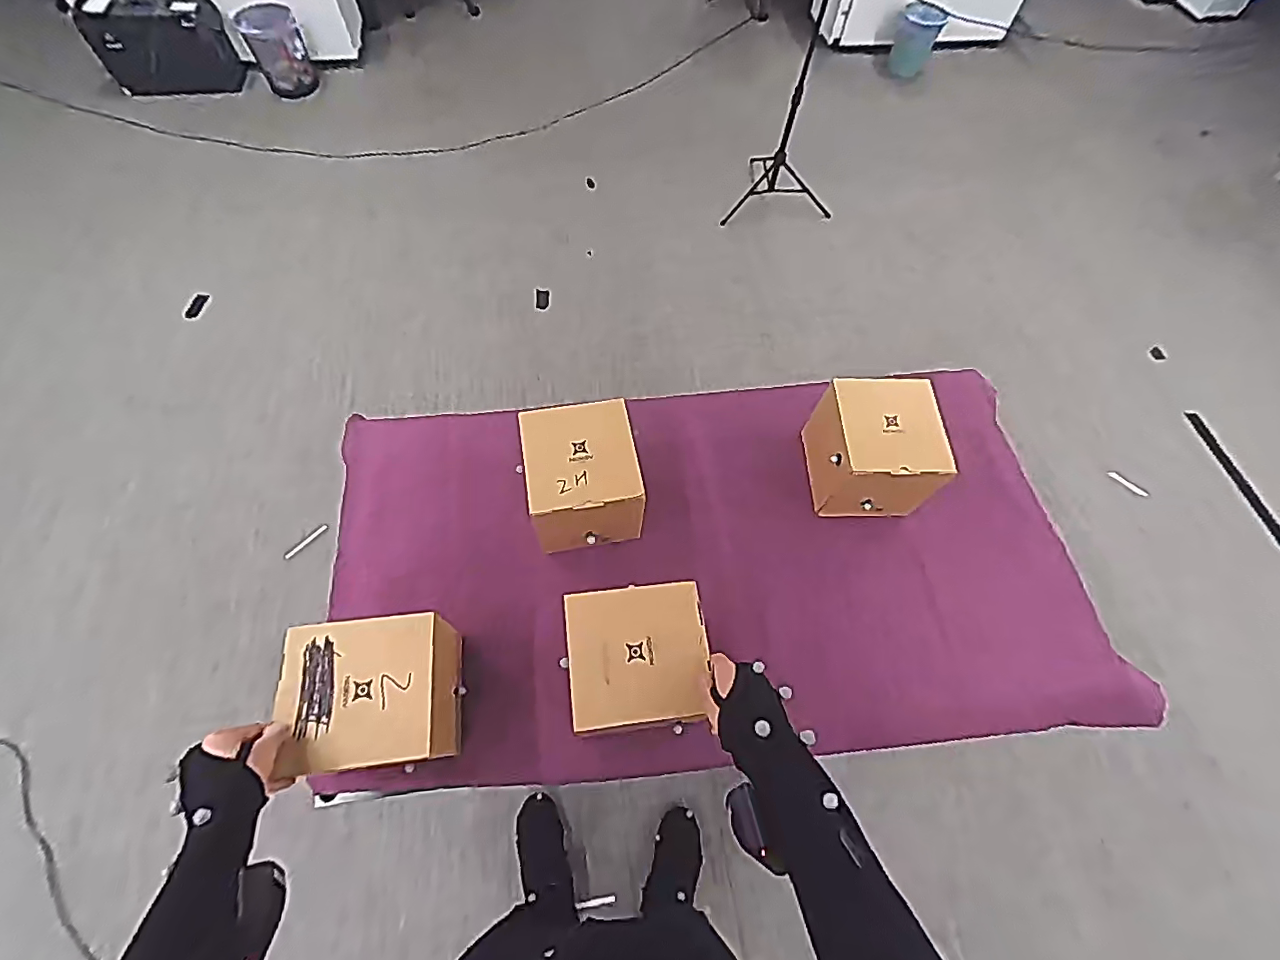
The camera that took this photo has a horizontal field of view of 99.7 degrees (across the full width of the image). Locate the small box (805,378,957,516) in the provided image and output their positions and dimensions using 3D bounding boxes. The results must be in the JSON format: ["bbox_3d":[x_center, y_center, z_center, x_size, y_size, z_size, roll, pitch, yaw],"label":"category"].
[{"bbox_3d":[0.393,-0.053,0.920,0.168,0.176,0.179,0,64,-2],"label":"small box"}]

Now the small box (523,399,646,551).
[{"bbox_3d":[-0.090,-0.005,0.871,0.168,0.176,0.179,-9,63,-7],"label":"small box"}]

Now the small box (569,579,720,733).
[{"bbox_3d":[-0.004,0.245,0.741,0.179,0.176,0.168,-5,62,-7],"label":"small box"}]
